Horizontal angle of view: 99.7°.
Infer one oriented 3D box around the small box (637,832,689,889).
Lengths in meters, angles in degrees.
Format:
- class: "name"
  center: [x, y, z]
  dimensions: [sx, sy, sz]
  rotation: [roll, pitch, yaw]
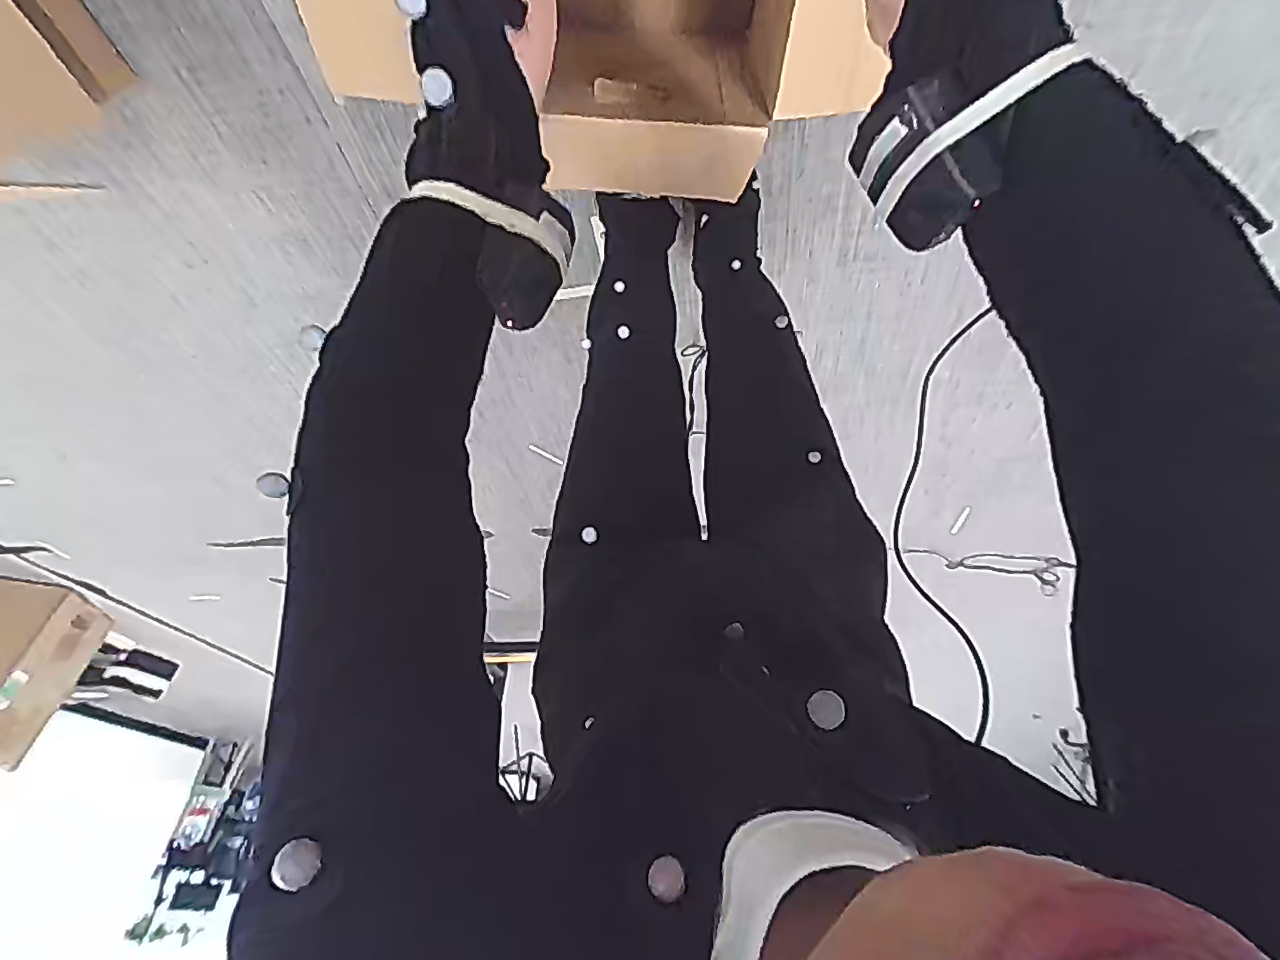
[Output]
- class: "small box"
  center: [0.093, 1.465, 2.082]
  dimensions: [0.179, 0.176, 0.168]
  rotation: [-5, 142, 10]
